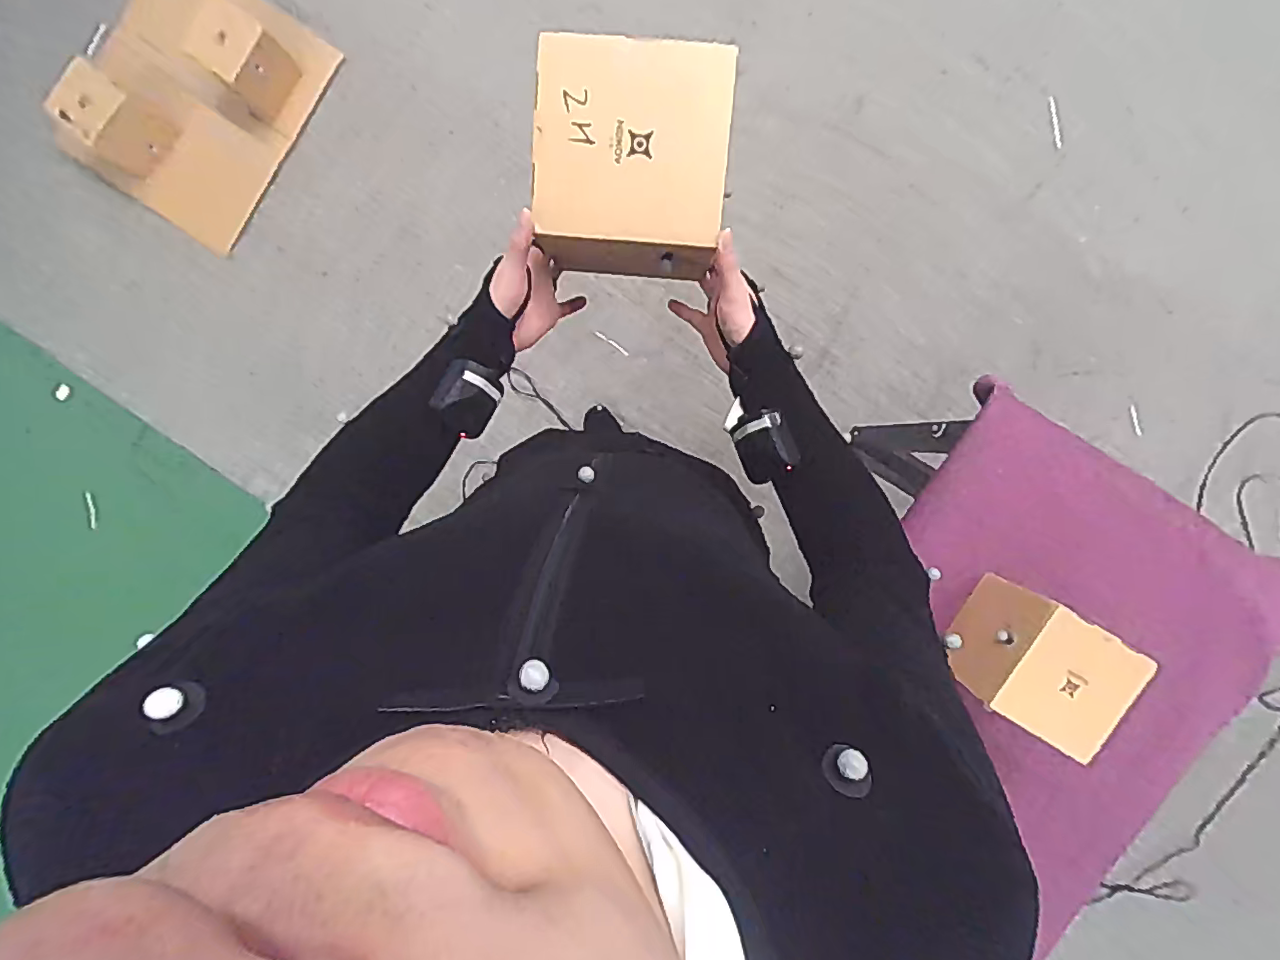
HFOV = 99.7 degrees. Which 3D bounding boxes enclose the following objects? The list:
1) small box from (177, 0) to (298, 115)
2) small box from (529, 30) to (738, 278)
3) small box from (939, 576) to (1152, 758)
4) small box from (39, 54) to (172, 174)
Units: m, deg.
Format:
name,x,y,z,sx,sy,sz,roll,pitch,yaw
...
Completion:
name,x,y,z,sx,sy,sz,roll,pitch,yaw
small box,-1.087,-1.156,1.478,0.168,0.176,0.179,35,95,-2
small box,-0.007,-0.312,0.556,0.179,0.176,0.168,5,100,1
small box,0.603,0.276,0.837,0.168,0.176,0.179,31,94,-1
small box,-1.461,-1.001,1.495,0.168,0.176,0.179,43,94,-2
